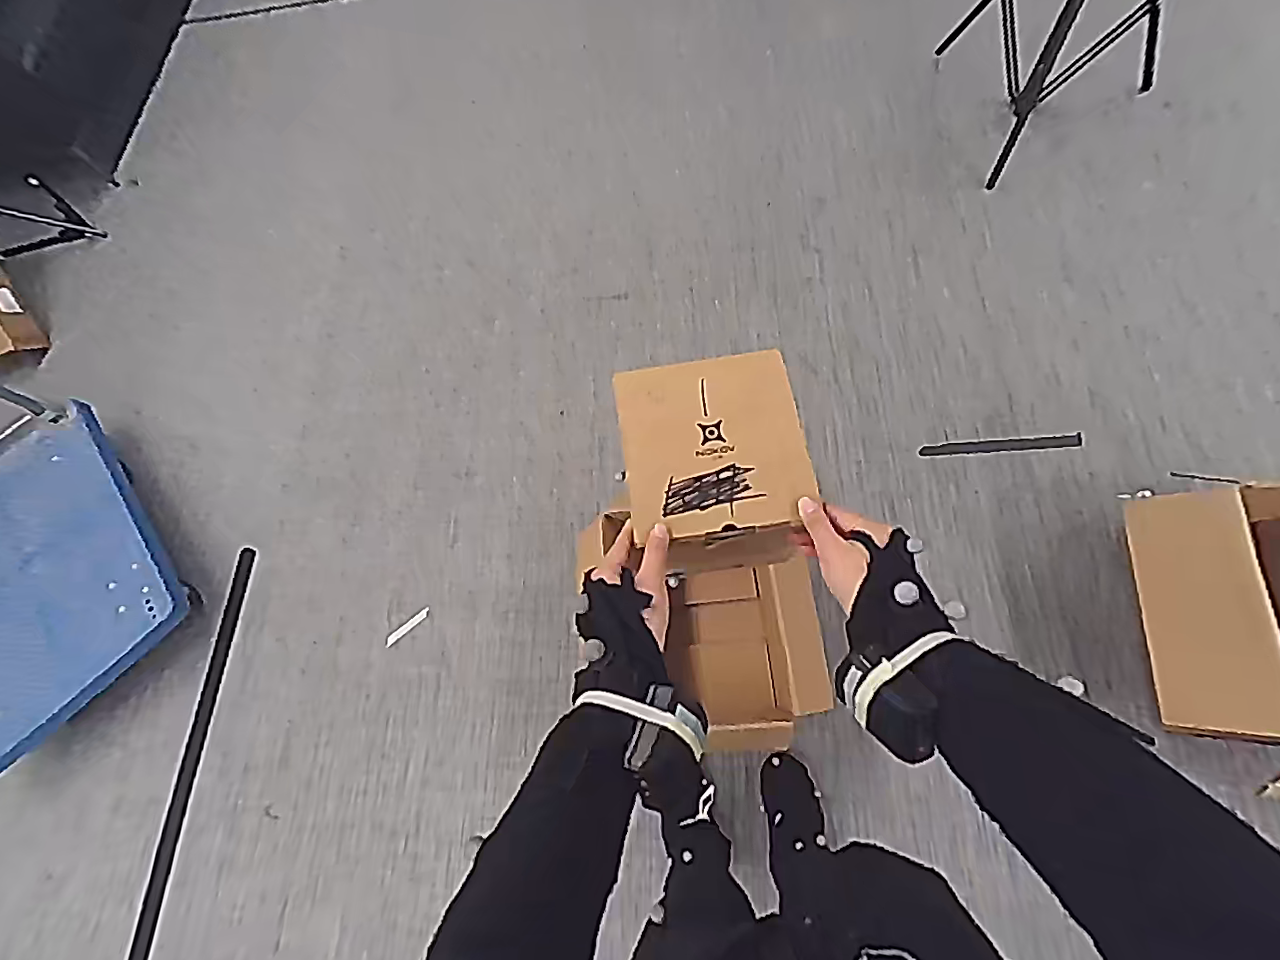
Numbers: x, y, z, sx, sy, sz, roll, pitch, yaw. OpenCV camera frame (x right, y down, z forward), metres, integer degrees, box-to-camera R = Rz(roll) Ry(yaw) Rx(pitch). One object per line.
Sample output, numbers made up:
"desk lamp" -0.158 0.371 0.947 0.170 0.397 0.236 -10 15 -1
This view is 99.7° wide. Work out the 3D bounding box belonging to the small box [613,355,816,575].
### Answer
"small box" 0.068 -0.003 0.572 0.168 0.176 0.179 -8 67 0
